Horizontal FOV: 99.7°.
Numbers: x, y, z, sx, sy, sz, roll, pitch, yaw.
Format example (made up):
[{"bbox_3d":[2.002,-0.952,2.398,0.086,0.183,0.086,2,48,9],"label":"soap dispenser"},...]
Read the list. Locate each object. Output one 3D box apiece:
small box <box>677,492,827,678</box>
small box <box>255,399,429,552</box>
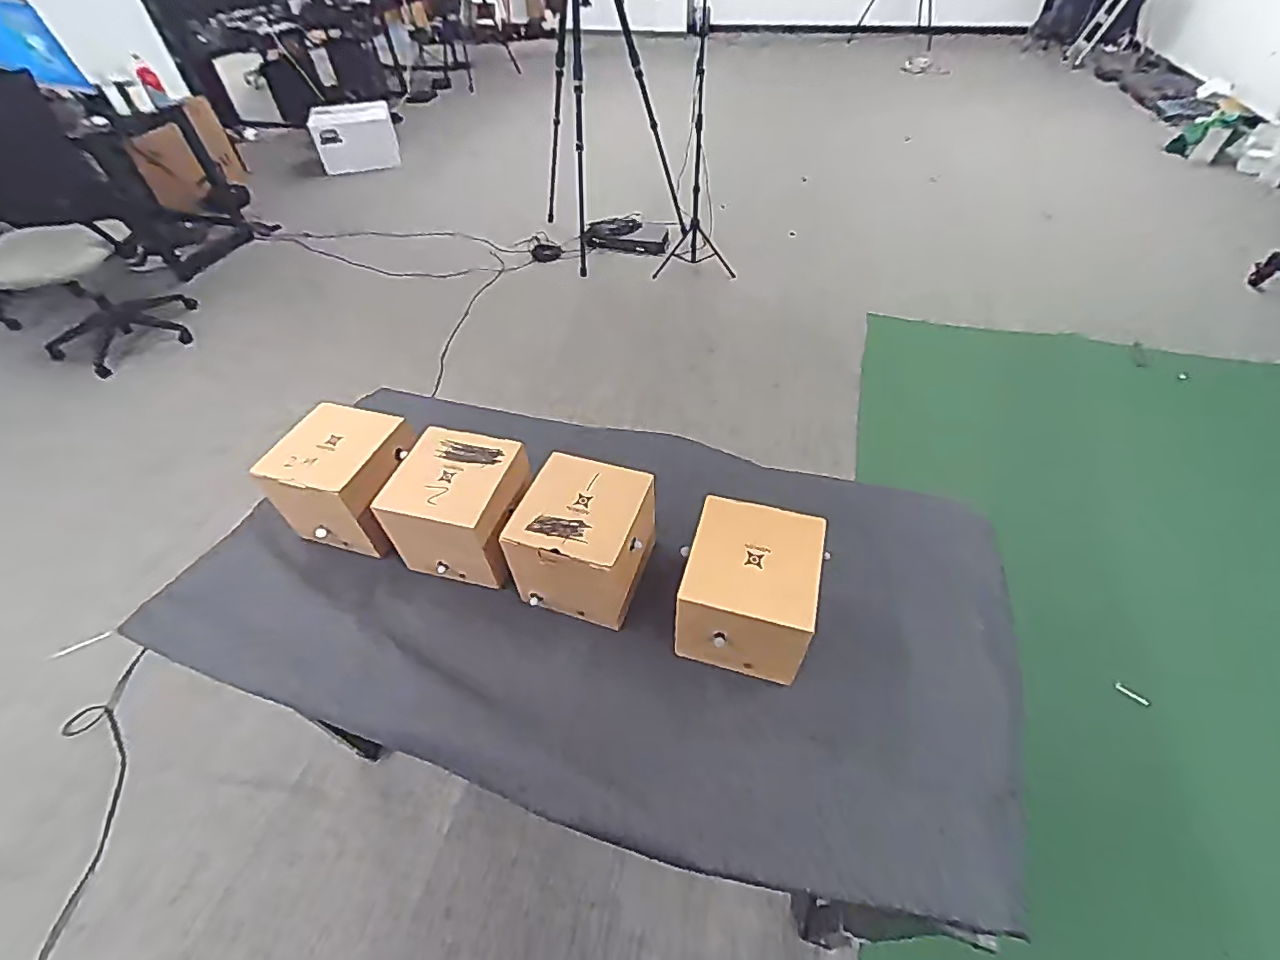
[{"bbox_3d":[0.152,0.148,0.750,0.168,0.176,0.179,12,49,13],"label":"small box"},{"bbox_3d":[-0.482,-0.008,0.913,0.168,0.176,0.179,12,50,12],"label":"small box"}]
